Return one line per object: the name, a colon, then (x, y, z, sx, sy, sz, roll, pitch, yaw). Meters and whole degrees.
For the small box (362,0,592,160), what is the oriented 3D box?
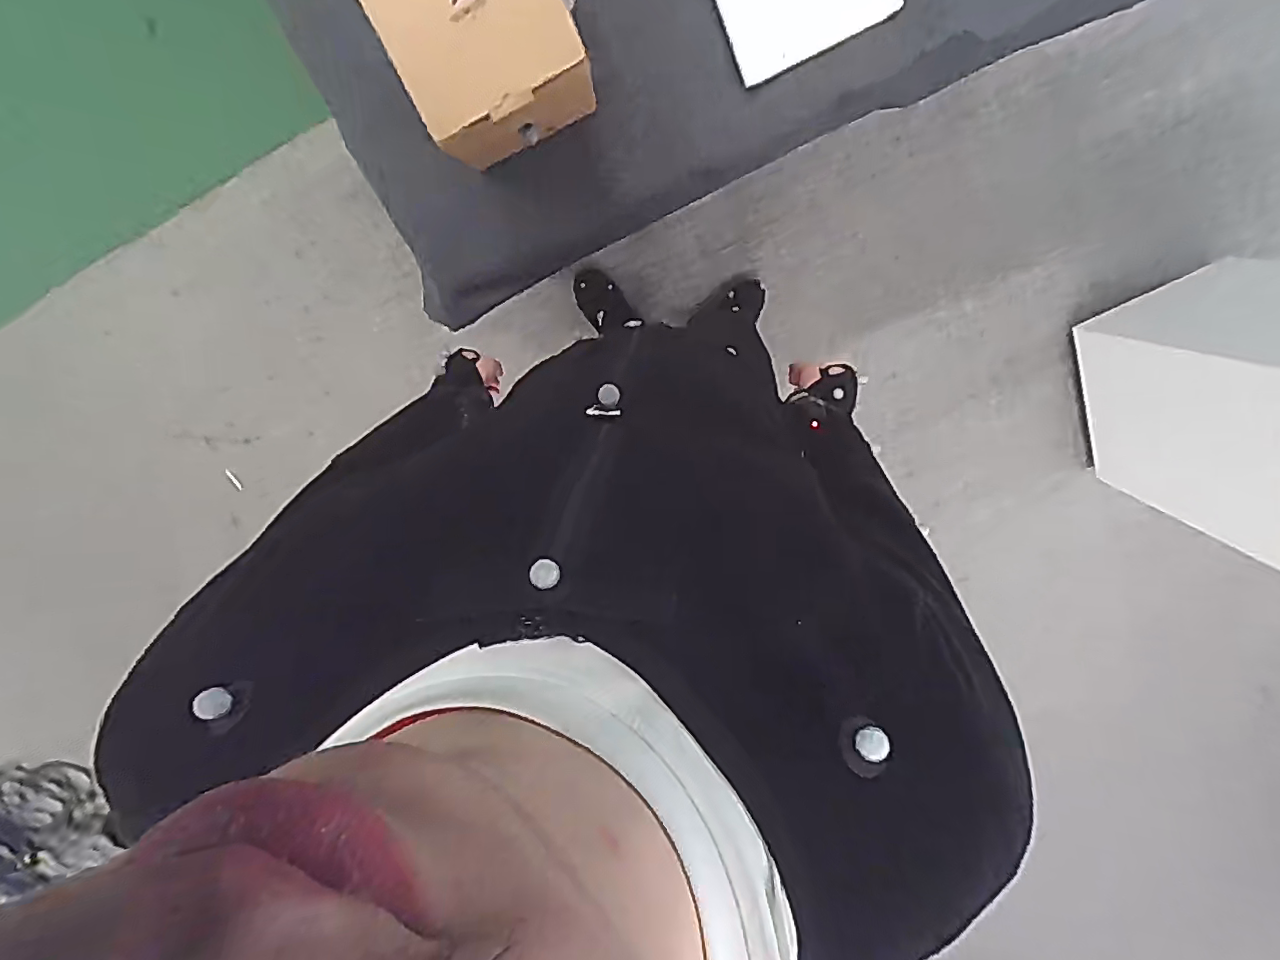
small box: (-0.158, -0.455, 0.556, 0.168, 0.176, 0.179, -24, 112, 8)
